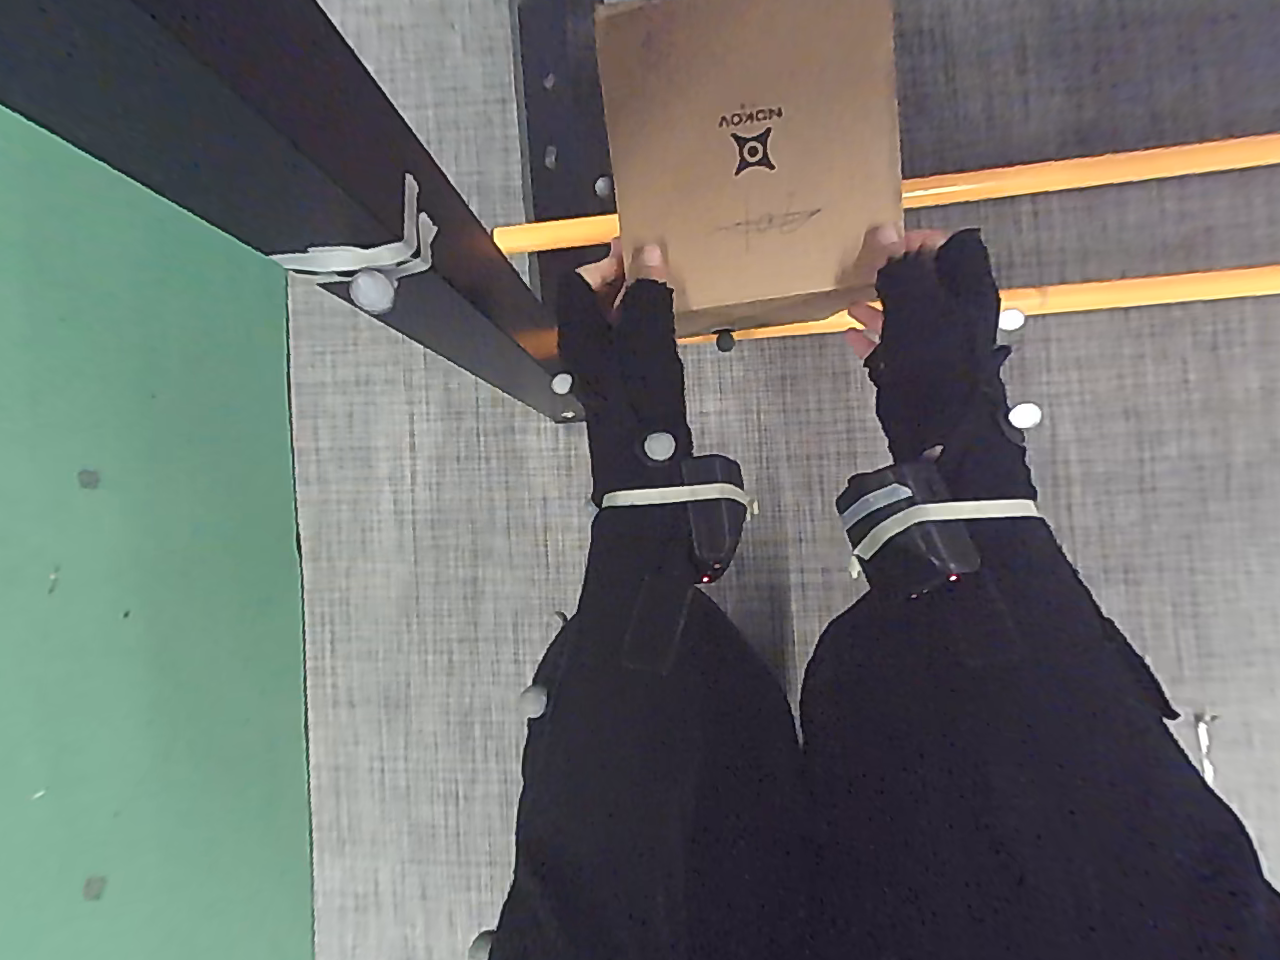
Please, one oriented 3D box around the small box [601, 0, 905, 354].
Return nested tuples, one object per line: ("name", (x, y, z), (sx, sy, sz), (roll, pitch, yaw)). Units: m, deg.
("small box", (0.072, -0.197, 0.397), (0.168, 0.176, 0.179), (-7, 98, 6))
